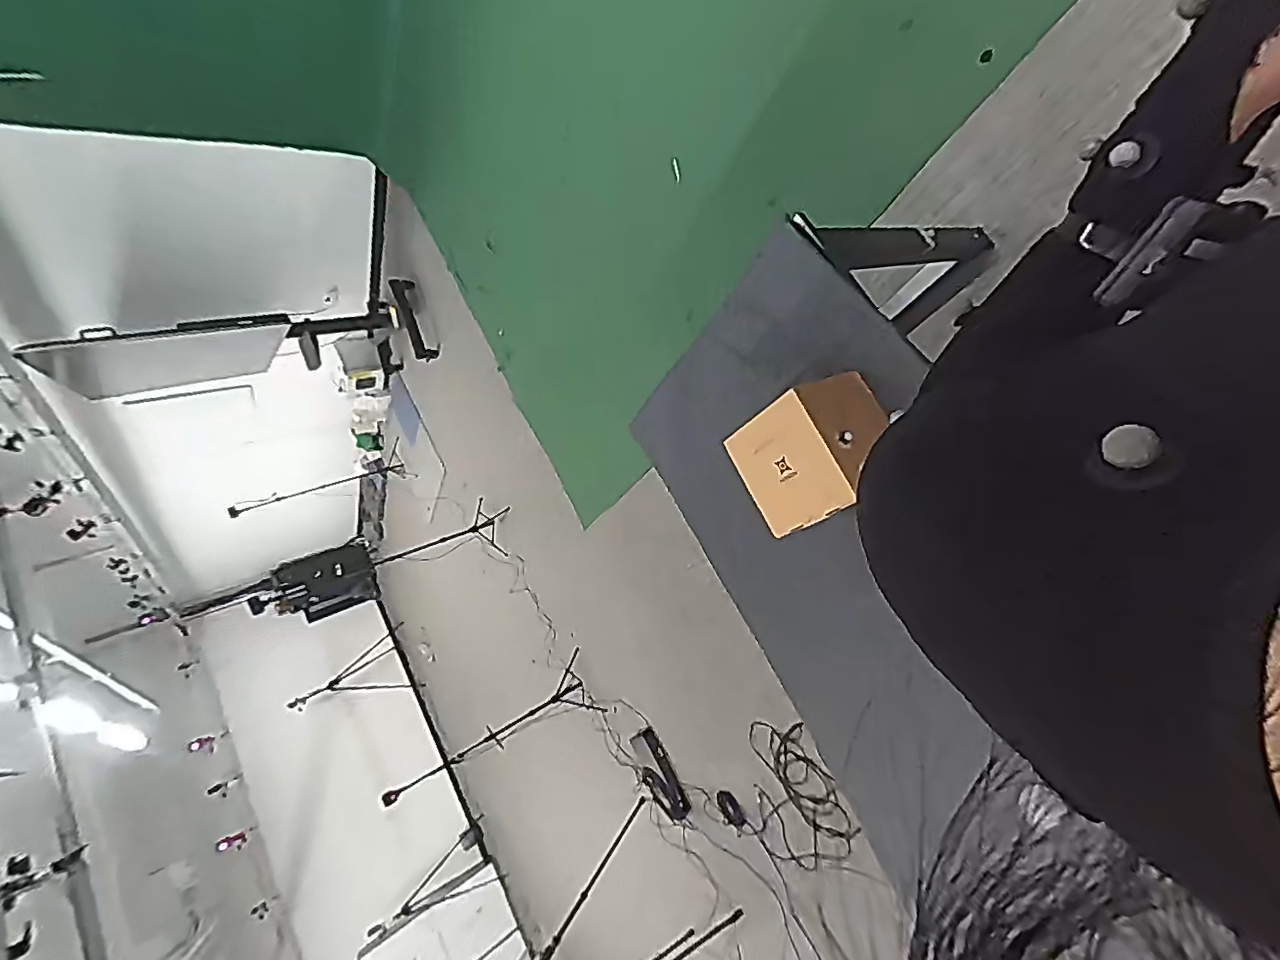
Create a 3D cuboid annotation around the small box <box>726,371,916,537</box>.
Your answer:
[{"bbox_3d":[0.271,-0.041,0.810,0.168,0.176,0.179,-42,72,52],"label":"small box"}]
